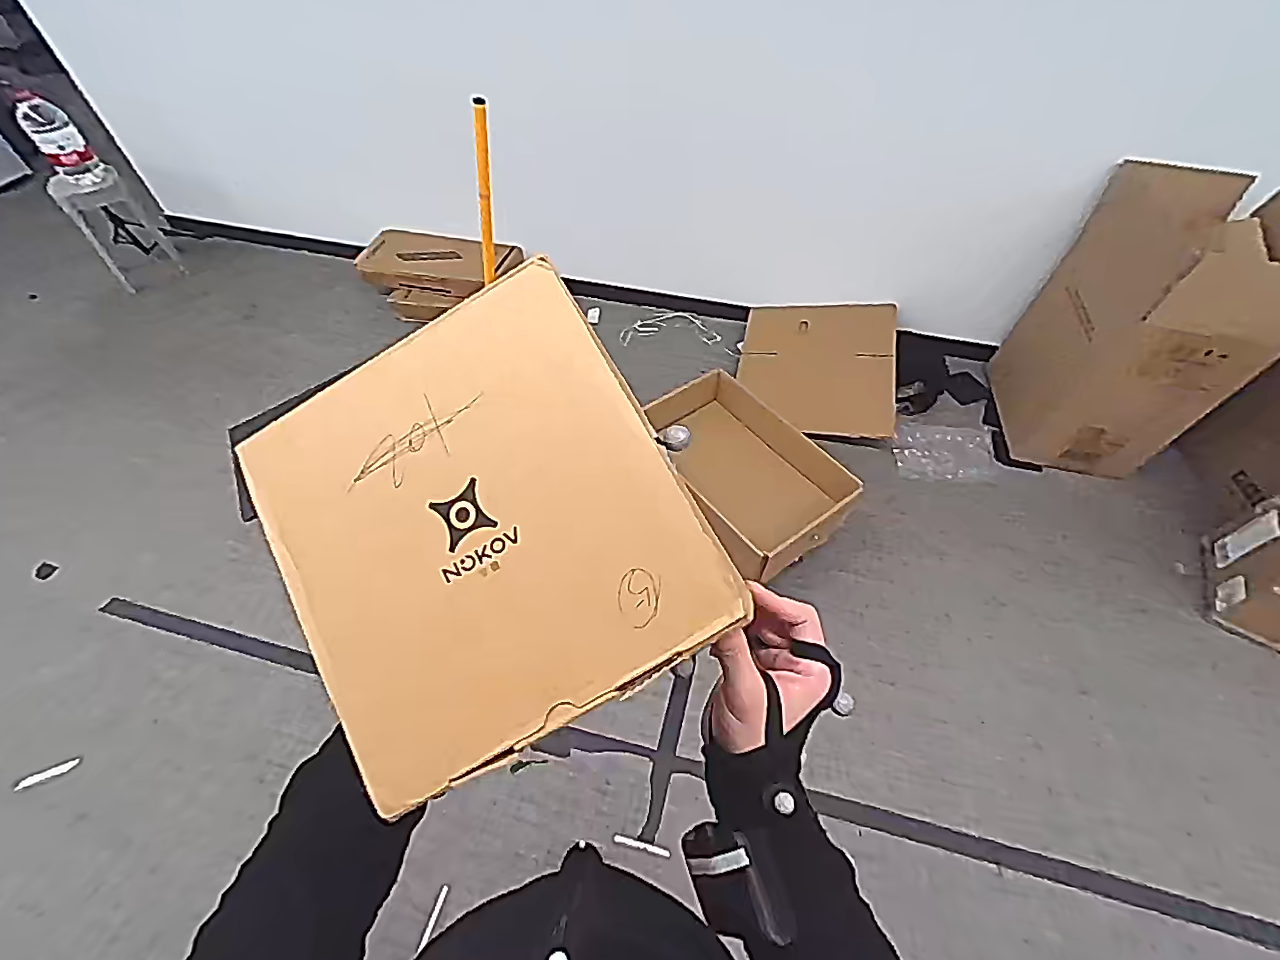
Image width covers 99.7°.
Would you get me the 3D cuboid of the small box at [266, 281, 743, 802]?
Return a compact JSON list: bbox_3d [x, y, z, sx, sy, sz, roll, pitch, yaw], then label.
[{"bbox_3d":[-0.054,0.032,0.312,0.168,0.176,0.179,-31,77,3],"label":"small box"}]
